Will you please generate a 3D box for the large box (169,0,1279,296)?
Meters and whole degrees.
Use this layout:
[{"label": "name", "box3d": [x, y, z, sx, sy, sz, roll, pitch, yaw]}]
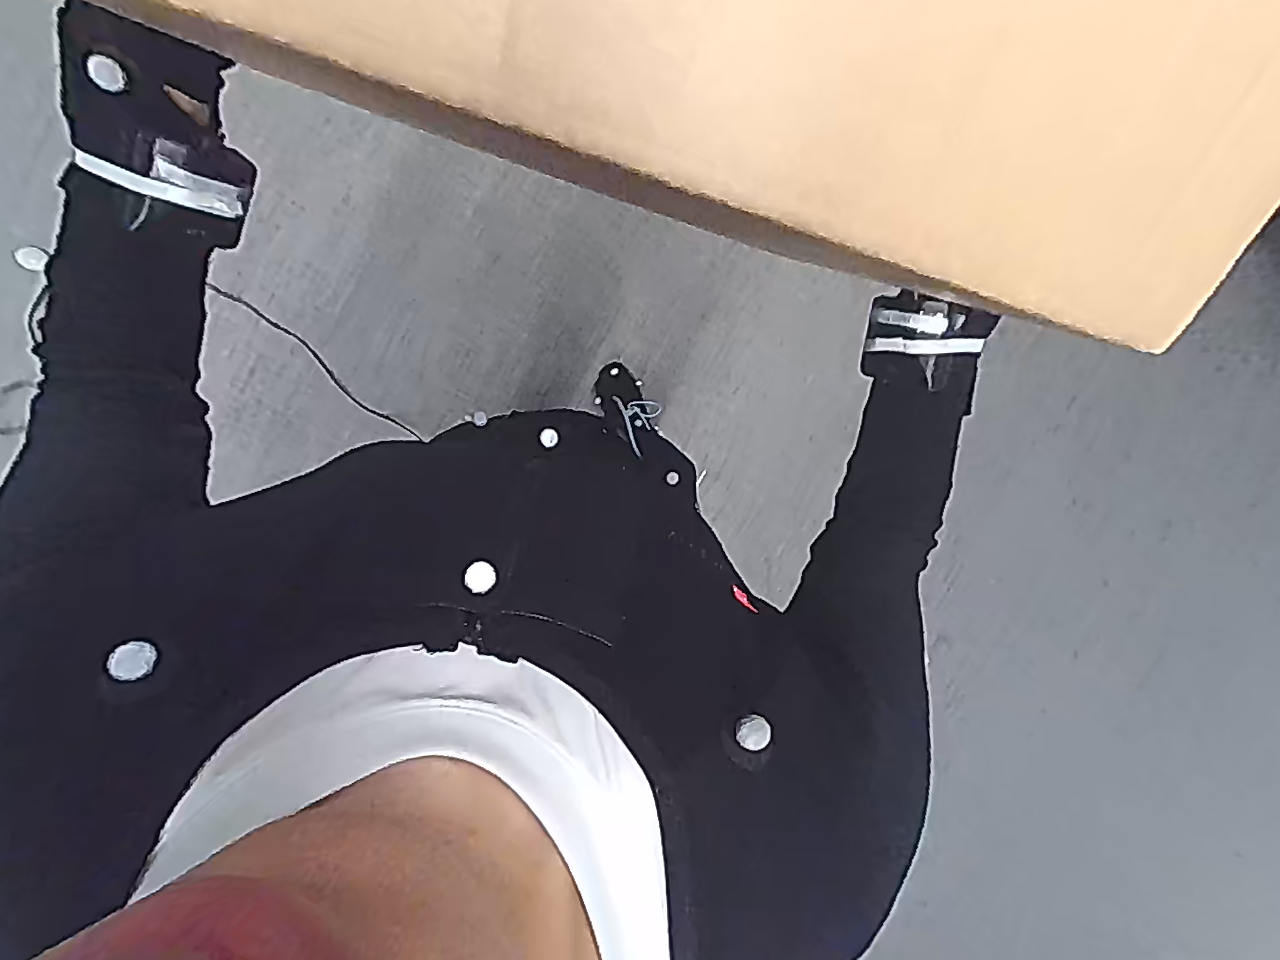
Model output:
[{"label": "large box", "box3d": [0.024, -0.303, 0.221, 0.408, 0.320, 0.320, 11, 116, -16]}]
